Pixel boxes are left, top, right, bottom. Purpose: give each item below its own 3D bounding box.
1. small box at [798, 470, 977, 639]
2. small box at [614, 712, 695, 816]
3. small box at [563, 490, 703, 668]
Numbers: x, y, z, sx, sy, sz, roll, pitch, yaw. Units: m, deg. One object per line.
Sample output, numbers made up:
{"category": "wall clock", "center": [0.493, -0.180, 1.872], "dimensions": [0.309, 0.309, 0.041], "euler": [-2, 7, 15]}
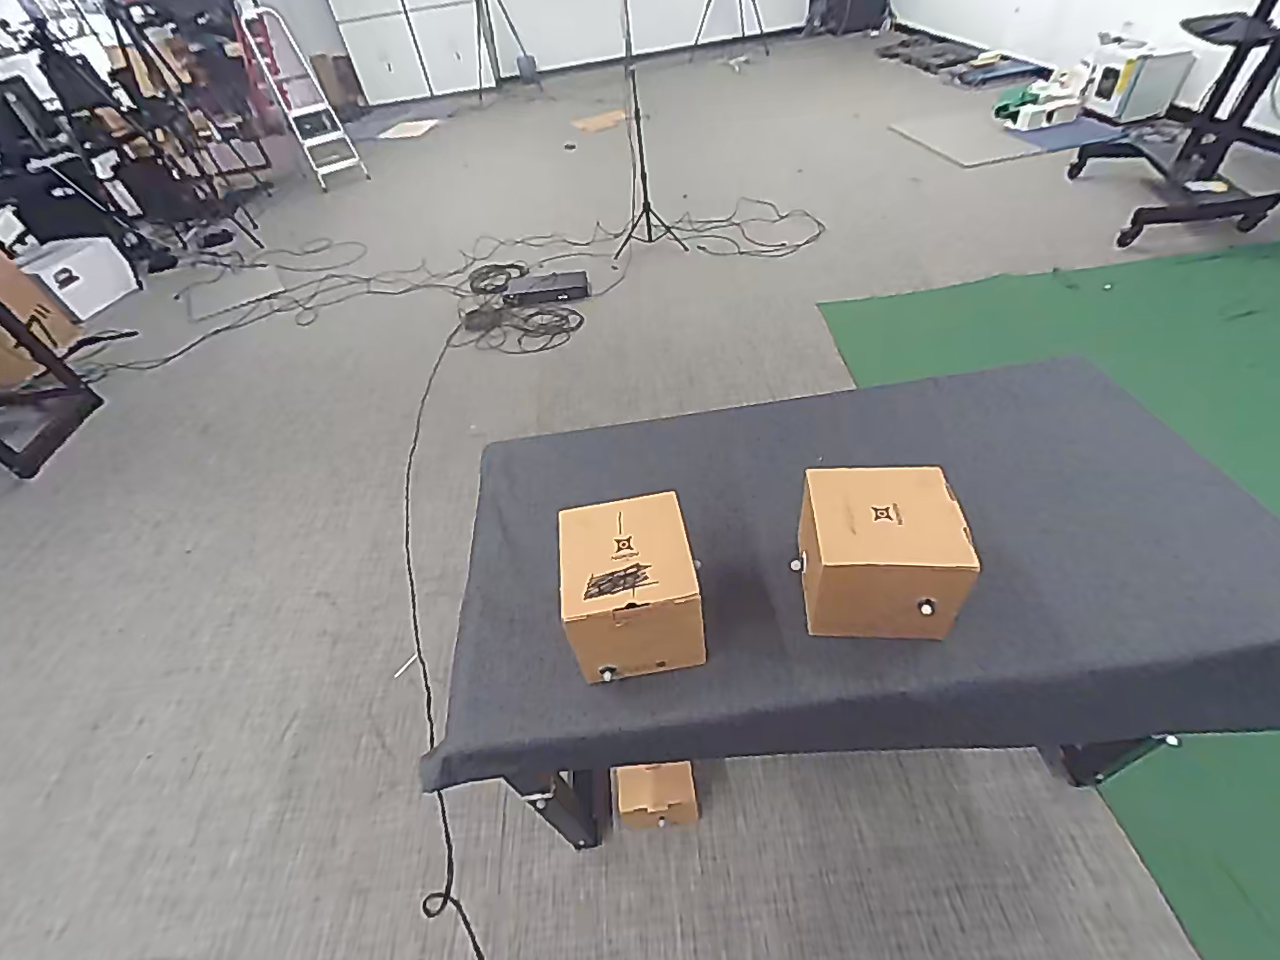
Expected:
{"category": "small box", "center": [0.319, 0.103, 0.740], "dimensions": [0.179, 0.176, 0.168], "euler": [-1, 45, 9]}
{"category": "small box", "center": [0.035, 0.666, 1.259], "dimensions": [0.168, 0.176, 0.179], "euler": [-8, 47, 1]}
{"category": "small box", "center": [-0.009, 0.143, 0.748], "dimensions": [0.168, 0.176, 0.179], "euler": [-9, 44, 0]}
